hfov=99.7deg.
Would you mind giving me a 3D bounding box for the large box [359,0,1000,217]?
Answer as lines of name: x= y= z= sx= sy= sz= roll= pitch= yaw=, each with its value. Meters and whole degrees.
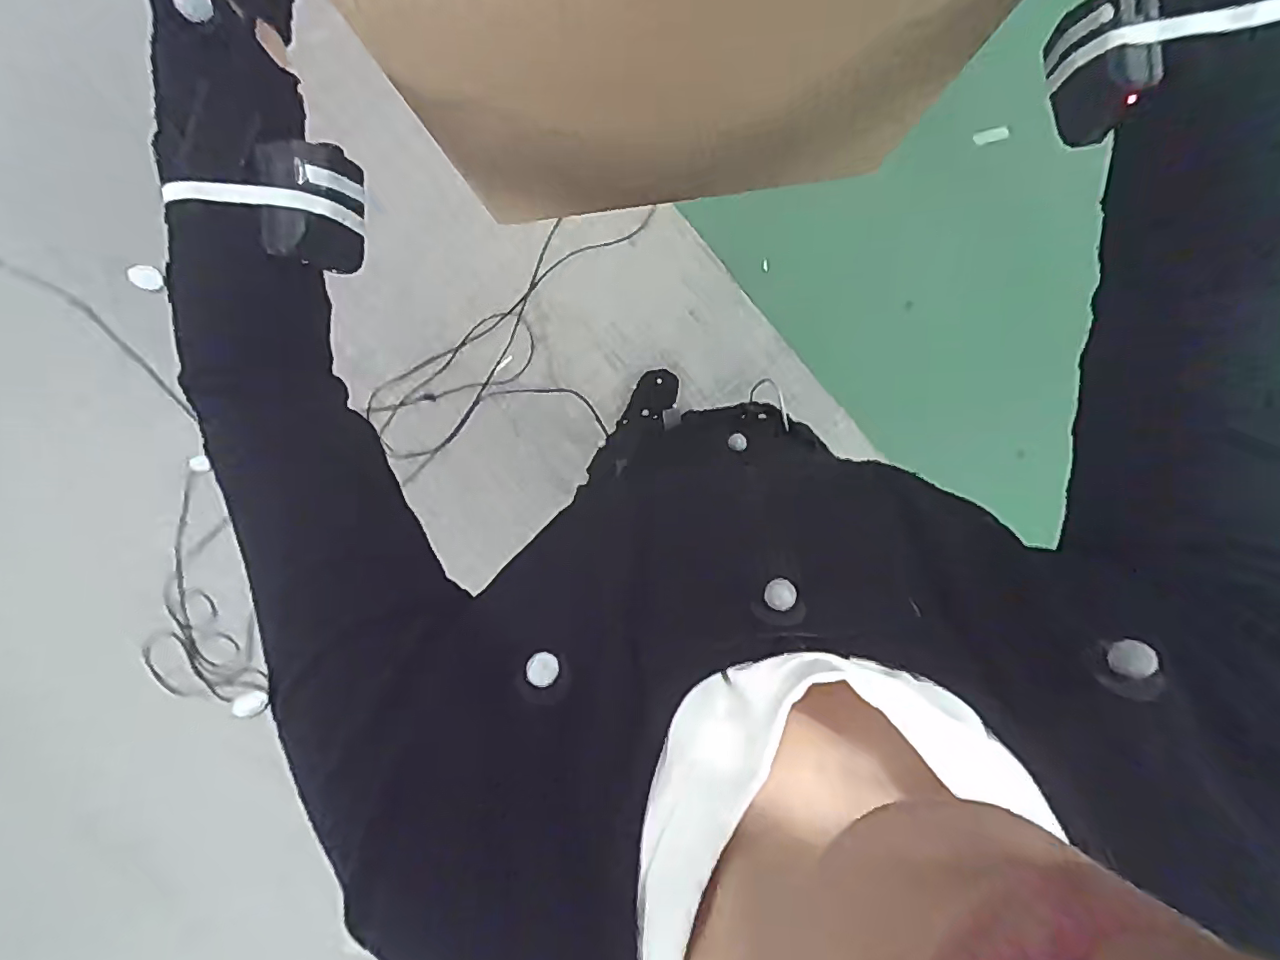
large box: x=0.024 y=-0.439 z=0.410 sx=0.408 sy=0.320 sz=0.320 roll=-7 pitch=95 yaw=1
